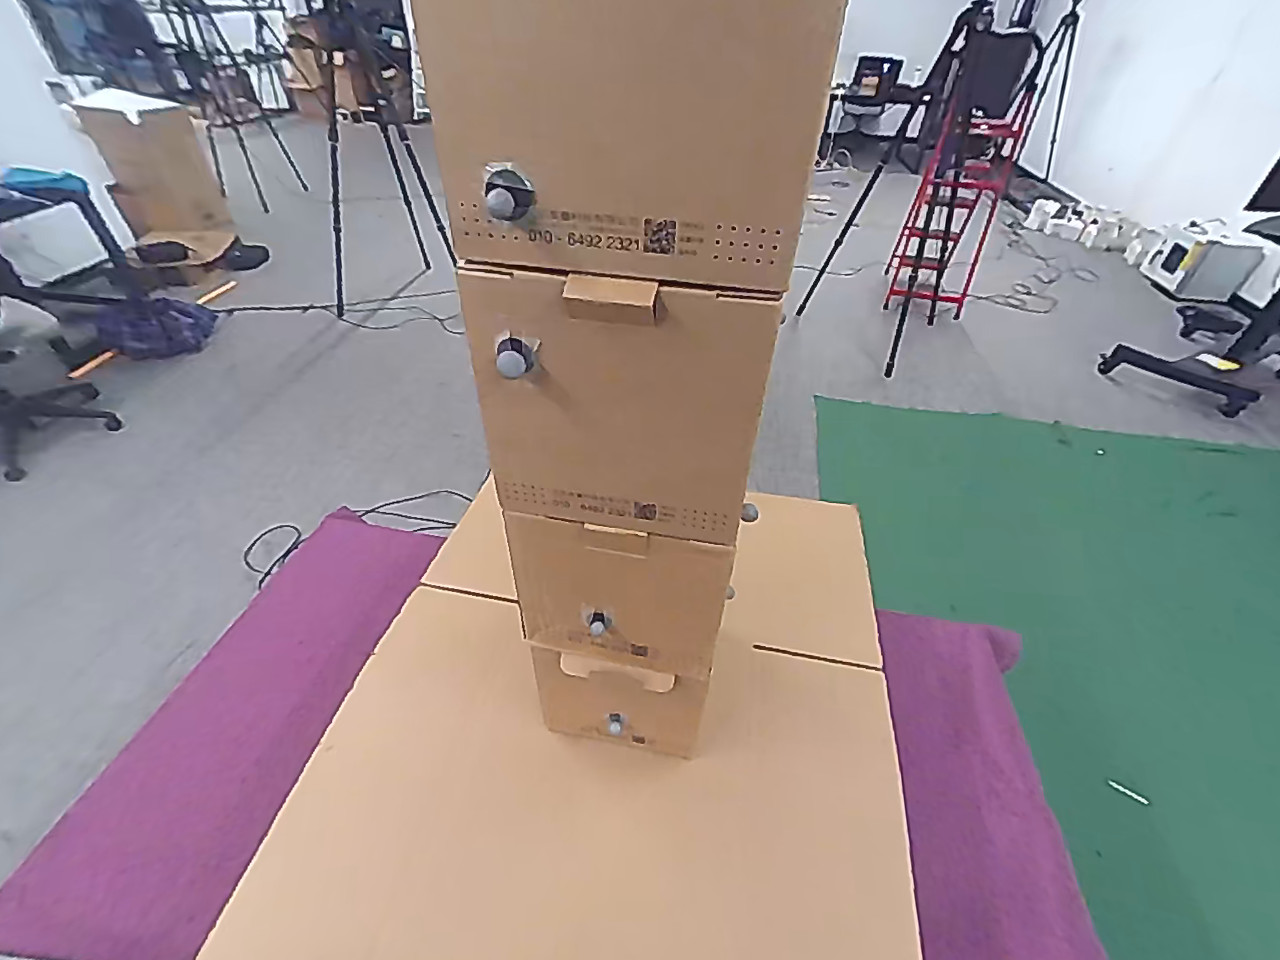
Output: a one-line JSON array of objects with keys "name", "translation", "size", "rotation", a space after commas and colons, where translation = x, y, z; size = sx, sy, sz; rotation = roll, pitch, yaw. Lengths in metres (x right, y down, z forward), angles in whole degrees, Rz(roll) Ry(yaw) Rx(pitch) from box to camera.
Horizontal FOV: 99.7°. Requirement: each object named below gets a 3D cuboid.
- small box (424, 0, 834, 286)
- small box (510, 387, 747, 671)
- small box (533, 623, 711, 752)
[{"name": "small box", "translation": [0.007, -0.214, 0.281], "size": [0.168, 0.176, 0.179], "rotation": [9, 39, 8]}, {"name": "small box", "translation": [-0.003, 0.040, 0.491], "size": [0.168, 0.176, 0.179], "rotation": [9, 41, 7]}, {"name": "small box", "translation": [-0.007, 0.164, 0.597], "size": [0.168, 0.176, 0.179], "rotation": [8, 41, 8]}]
